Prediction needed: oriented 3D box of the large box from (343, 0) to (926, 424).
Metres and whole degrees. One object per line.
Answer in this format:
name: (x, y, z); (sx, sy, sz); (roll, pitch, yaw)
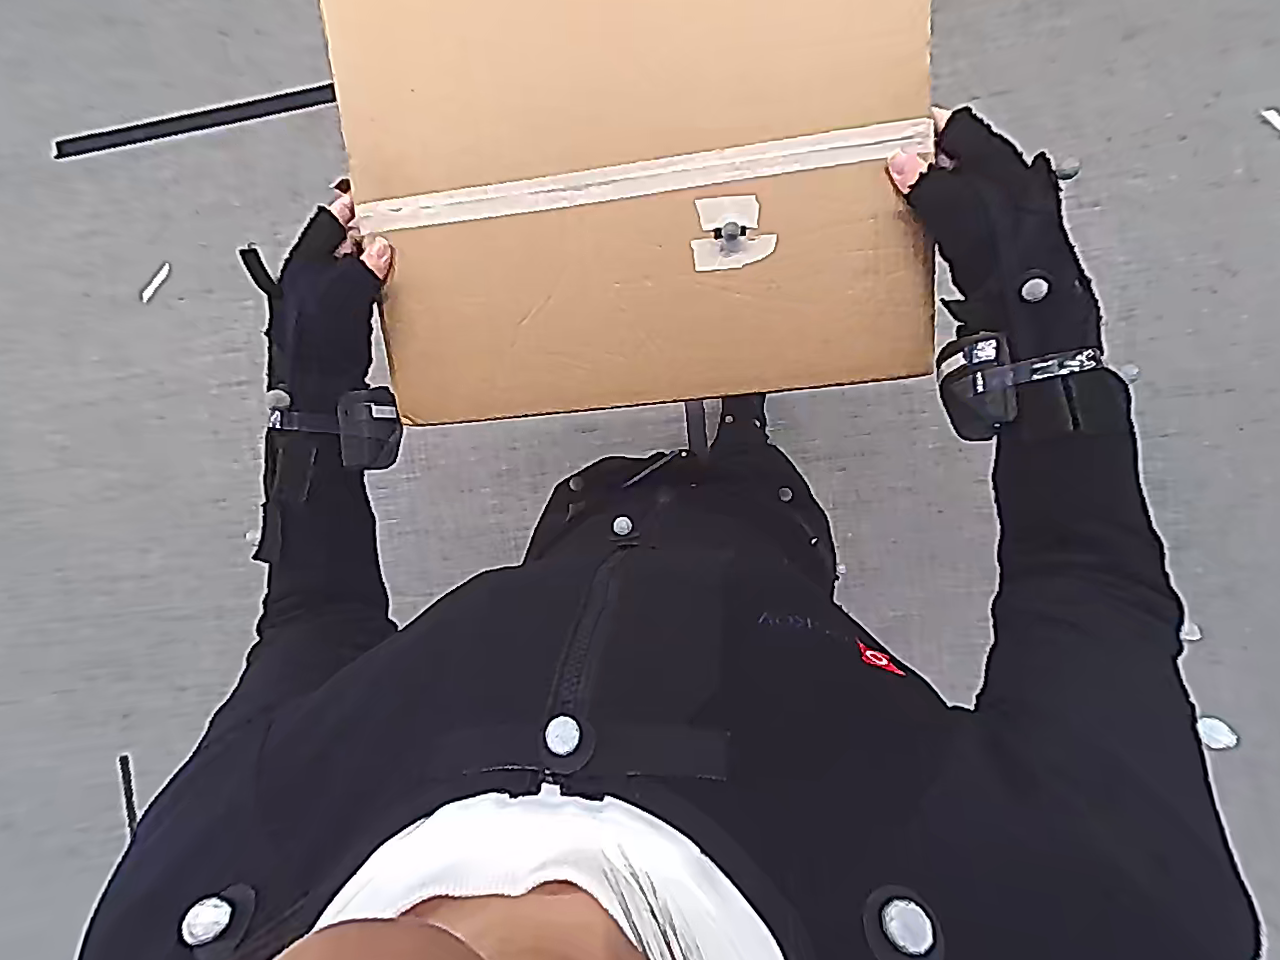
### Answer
large box: (0.008, -0.244, 0.541); (0.408, 0.320, 0.320); (-6, 101, 5)
